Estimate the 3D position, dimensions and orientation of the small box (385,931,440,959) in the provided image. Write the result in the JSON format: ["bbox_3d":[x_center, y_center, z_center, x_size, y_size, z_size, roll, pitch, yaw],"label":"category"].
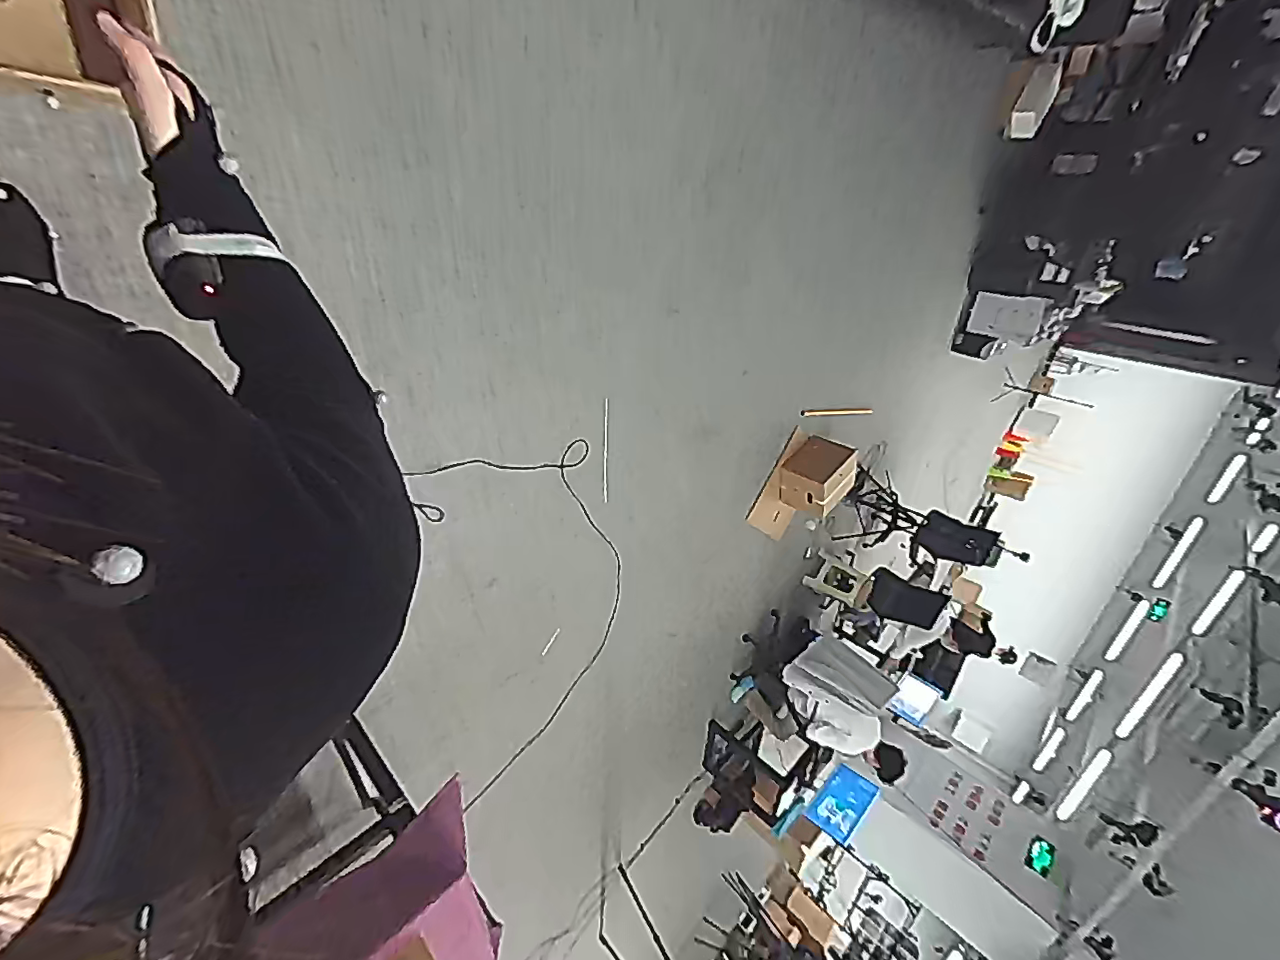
[{"bbox_3d":[-0.542,1.232,1.283,0.168,0.176,0.179,-28,132,-36],"label":"small box"}]
